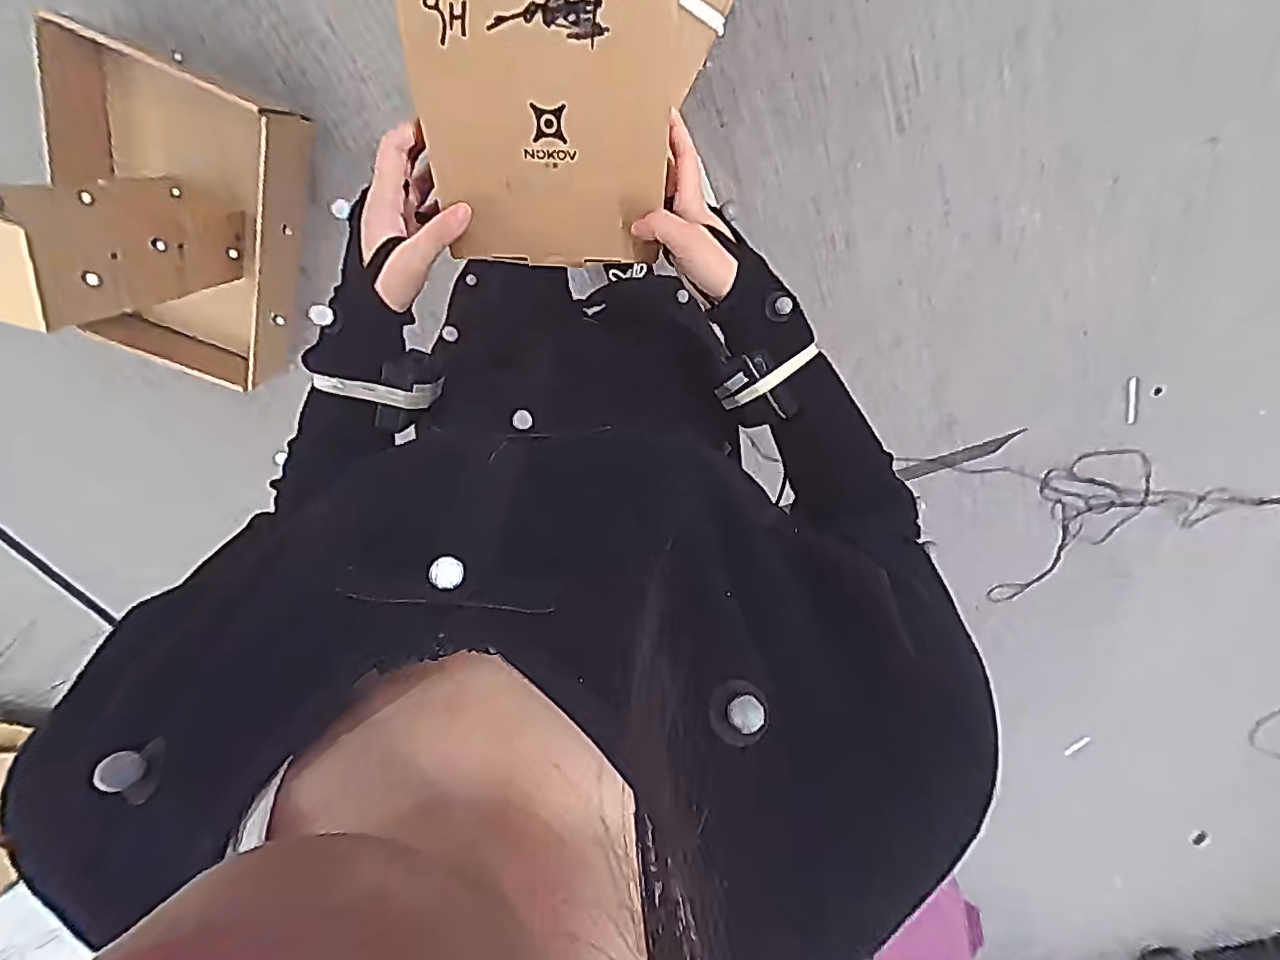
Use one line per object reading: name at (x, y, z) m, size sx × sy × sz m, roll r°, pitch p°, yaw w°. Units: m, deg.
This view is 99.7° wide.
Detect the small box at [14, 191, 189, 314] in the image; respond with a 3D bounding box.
small box at (-1.011, -0.442, 1.038) m, size 0.179 × 0.176 × 0.168 m, roll 17°, pitch 118°, yaw -8°

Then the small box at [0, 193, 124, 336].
small box at (-1.009, -0.362, 0.894) m, size 0.179 × 0.176 × 0.168 m, roll 16°, pitch 118°, yaw -9°

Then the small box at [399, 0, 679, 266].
small box at (-0.067, -0.293, 0.421) m, size 0.168 × 0.176 × 0.179 m, roll 0°, pitch 139°, yaw -5°

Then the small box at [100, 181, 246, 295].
small box at (-1.005, -0.529, 1.176) m, size 0.179 × 0.176 × 0.168 m, roll 20°, pitch 119°, yaw -12°
